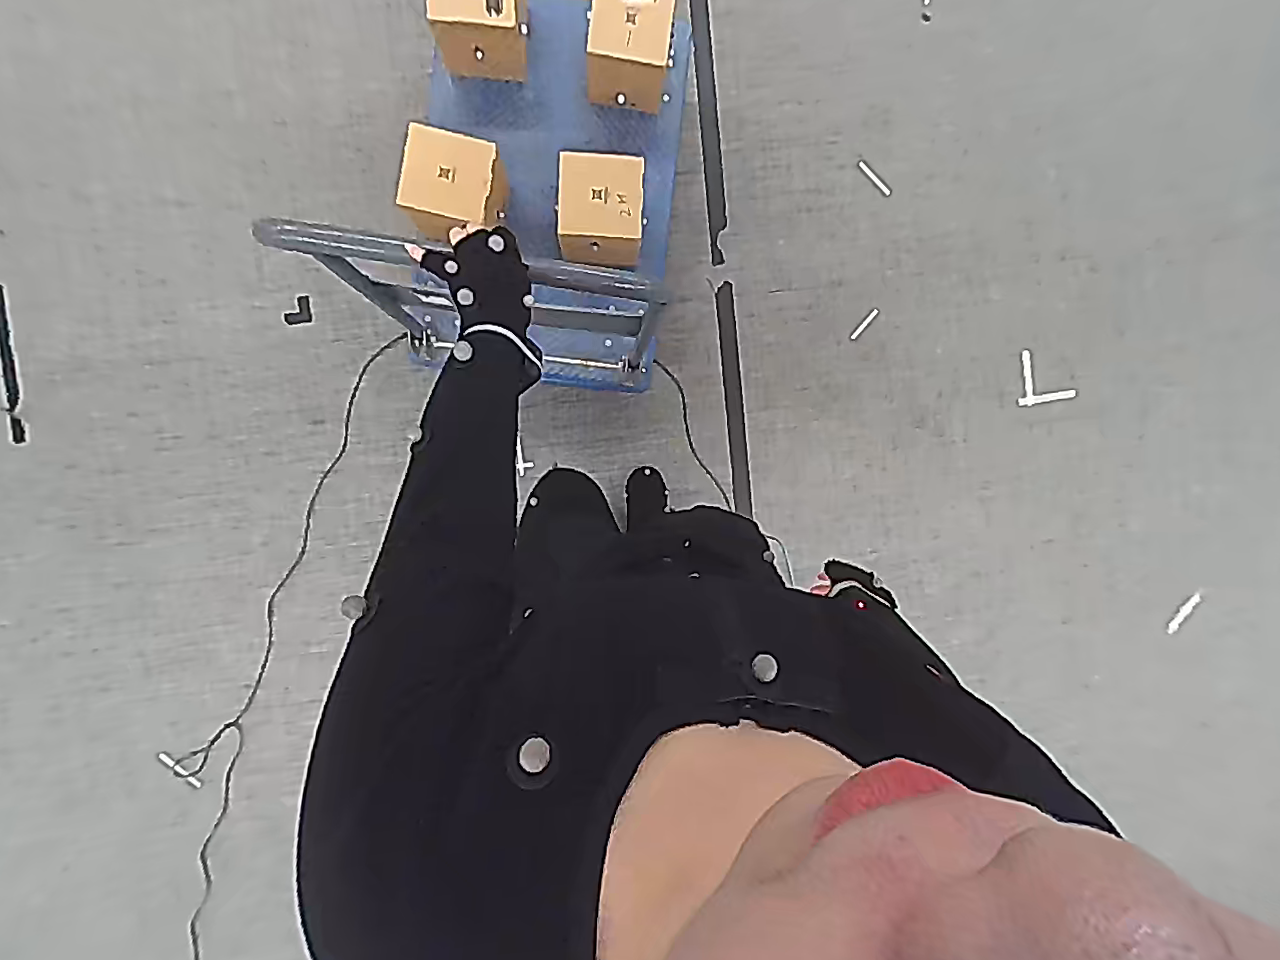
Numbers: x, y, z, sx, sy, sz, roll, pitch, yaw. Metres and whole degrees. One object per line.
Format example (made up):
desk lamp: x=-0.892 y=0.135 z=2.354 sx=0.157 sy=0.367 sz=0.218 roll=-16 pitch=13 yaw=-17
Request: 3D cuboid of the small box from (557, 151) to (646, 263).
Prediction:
small box: x=-0.083 y=-0.587 z=1.183 sx=0.179 sy=0.176 sz=0.168 roll=2 pitch=94 yaw=-4

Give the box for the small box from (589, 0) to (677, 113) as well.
small box: x=-0.018 y=-0.942 z=1.164 sx=0.168 sy=0.176 sz=0.179 roll=7 pitch=94 yaw=-4

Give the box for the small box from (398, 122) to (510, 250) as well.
small box: x=-0.389 y=-0.618 z=1.160 sx=0.179 sy=0.176 sz=0.168 roll=11 pitch=92 yaw=-6
